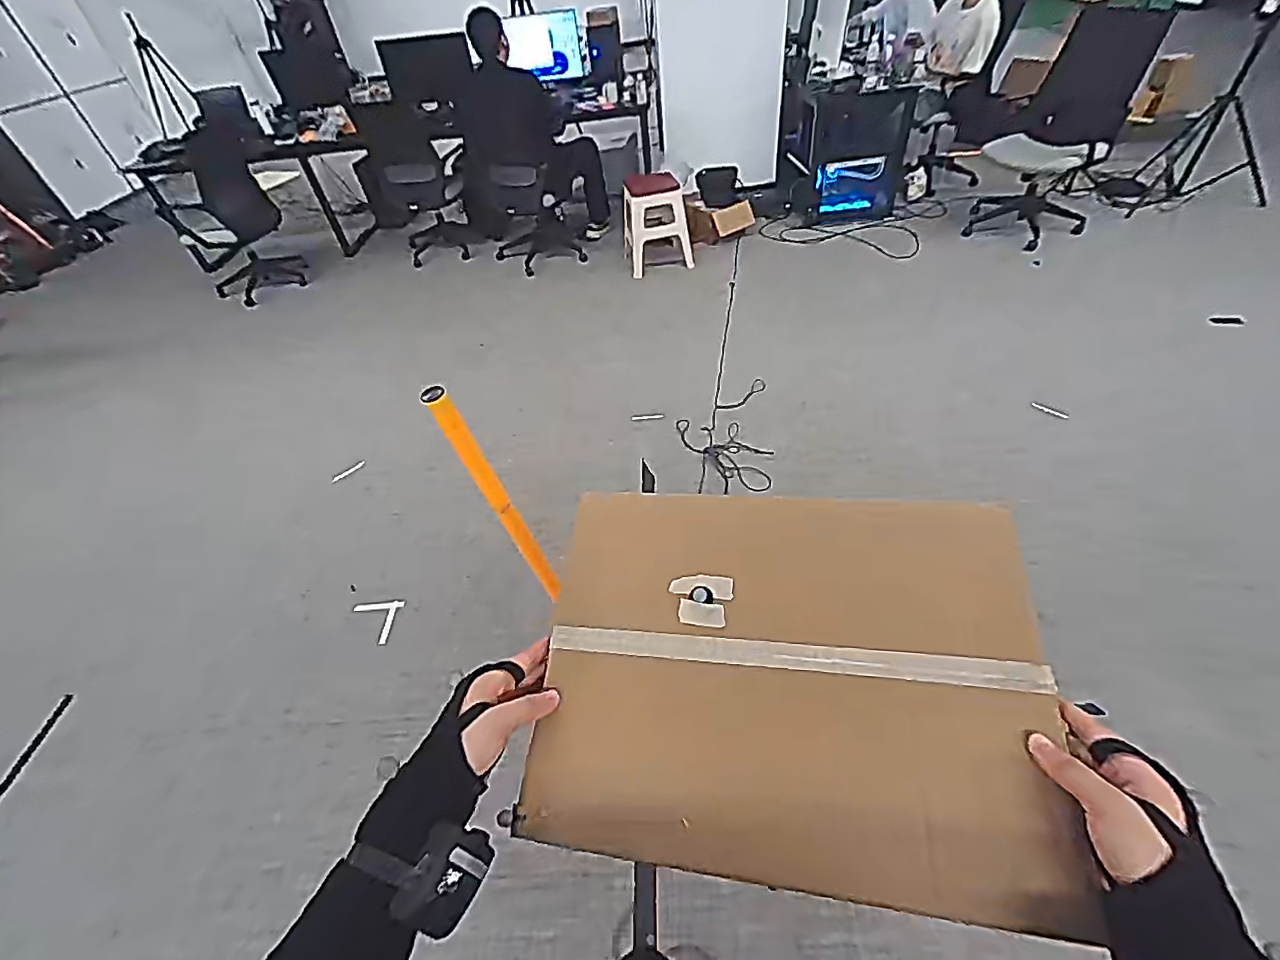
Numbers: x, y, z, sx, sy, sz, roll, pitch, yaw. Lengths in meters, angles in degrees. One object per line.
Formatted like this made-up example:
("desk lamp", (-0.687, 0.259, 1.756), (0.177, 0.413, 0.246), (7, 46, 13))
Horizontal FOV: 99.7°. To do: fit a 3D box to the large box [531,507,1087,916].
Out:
("large box", (0.149, 0.236, 0.597), (0.408, 0.320, 0.320), (0, 57, 13))
